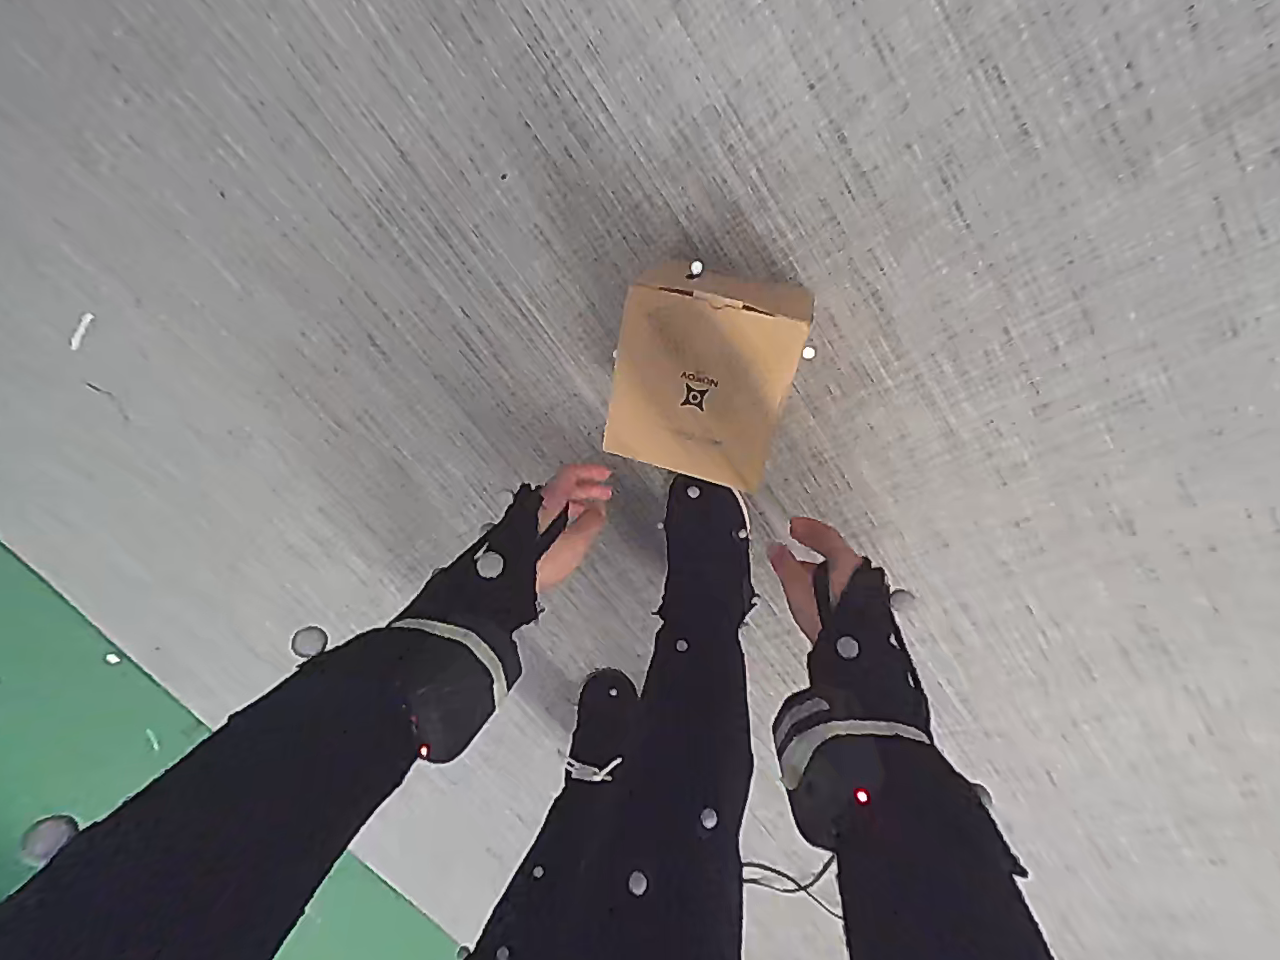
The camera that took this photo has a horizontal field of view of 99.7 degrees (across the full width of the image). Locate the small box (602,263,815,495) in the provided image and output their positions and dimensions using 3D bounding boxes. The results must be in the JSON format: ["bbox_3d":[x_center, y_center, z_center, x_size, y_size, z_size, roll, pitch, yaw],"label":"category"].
[{"bbox_3d":[0.074,-0.116,0.566,0.168,0.176,0.179,17,121,10],"label":"small box"}]
